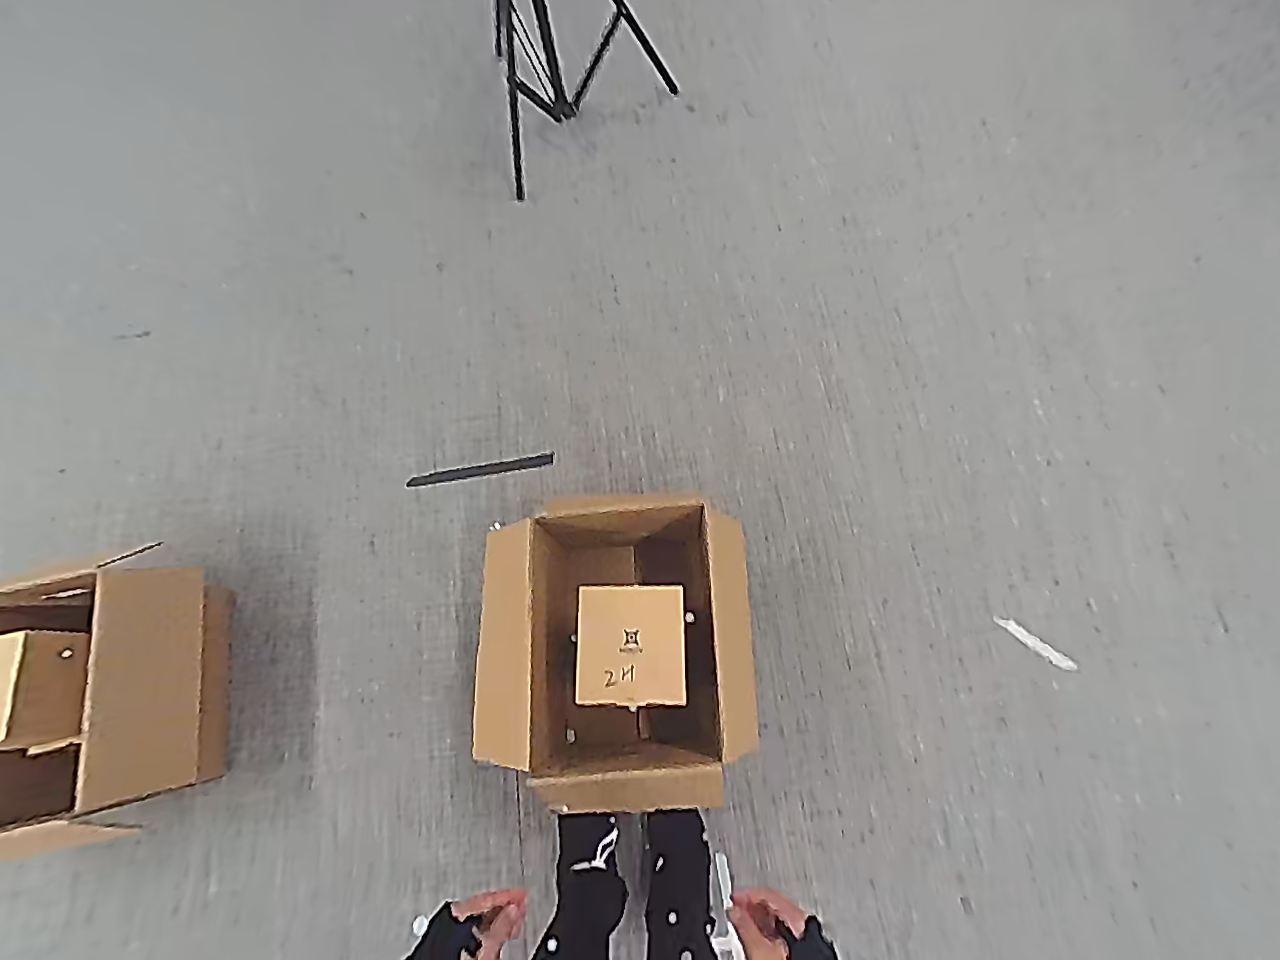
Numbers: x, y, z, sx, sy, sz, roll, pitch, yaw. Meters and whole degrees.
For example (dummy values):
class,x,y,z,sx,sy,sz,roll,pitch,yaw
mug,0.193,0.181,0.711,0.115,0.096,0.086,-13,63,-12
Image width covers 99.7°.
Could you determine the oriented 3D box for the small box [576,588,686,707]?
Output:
class,x,y,z,sx,sy,sz,roll,pitch,yaw
small box,-0.012,0.282,0.907,0.168,0.176,0.179,-1,70,1
